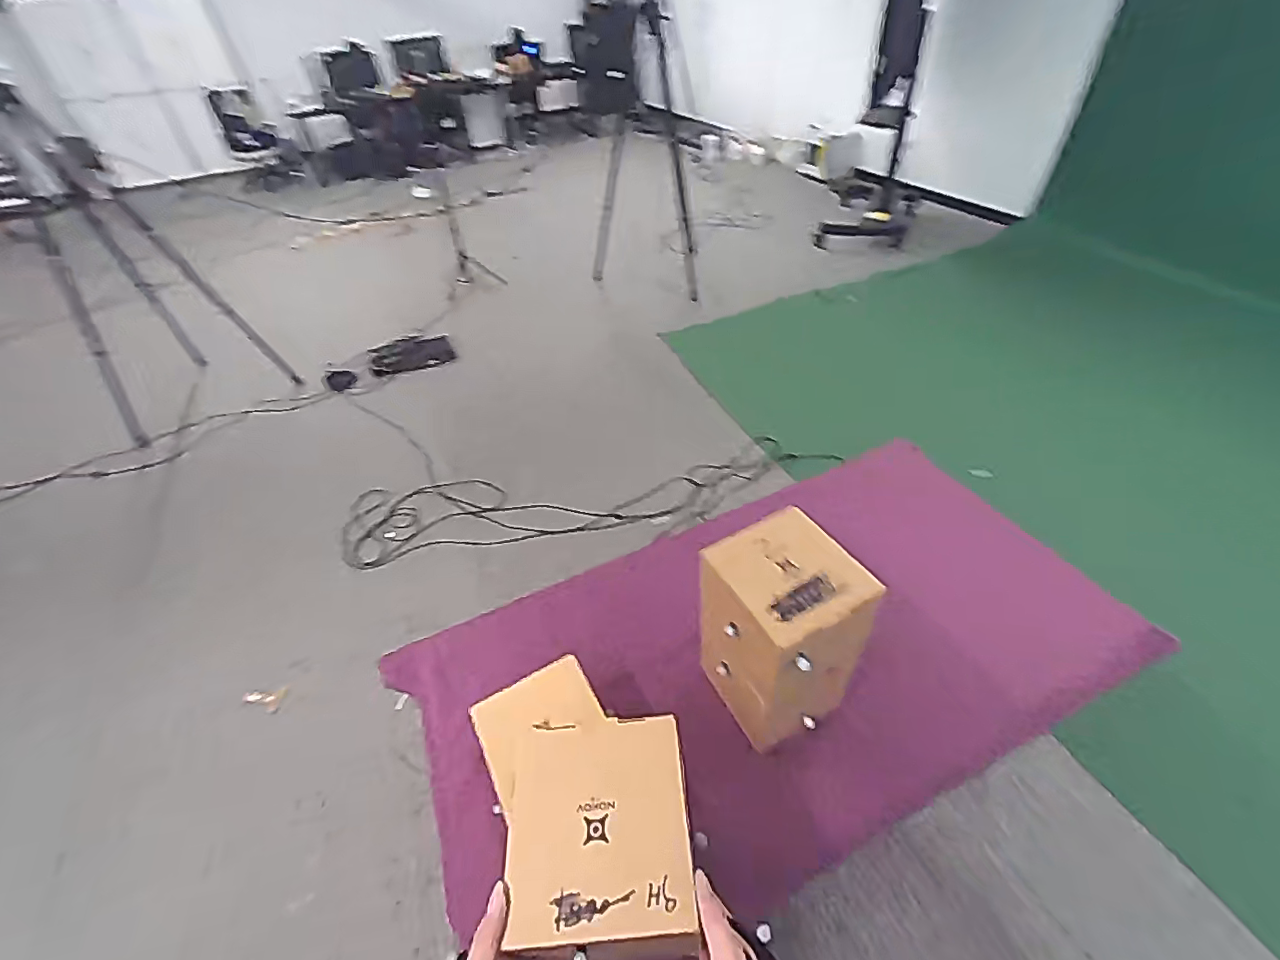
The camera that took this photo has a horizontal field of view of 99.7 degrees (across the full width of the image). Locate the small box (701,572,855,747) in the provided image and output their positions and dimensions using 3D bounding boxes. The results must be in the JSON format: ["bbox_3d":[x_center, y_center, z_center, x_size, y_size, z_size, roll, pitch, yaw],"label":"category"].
[{"bbox_3d":[0.209,0.288,0.872,0.168,0.176,0.179,-23,45,-17],"label":"small box"}]

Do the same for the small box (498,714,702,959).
[{"bbox_3d":[-0.029,0.361,0.544,0.168,0.176,0.179,-6,44,2],"label":"small box"}]

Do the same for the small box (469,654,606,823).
[{"bbox_3d":[-0.129,0.399,0.793,0.168,0.176,0.179,-24,47,-19],"label":"small box"}]
